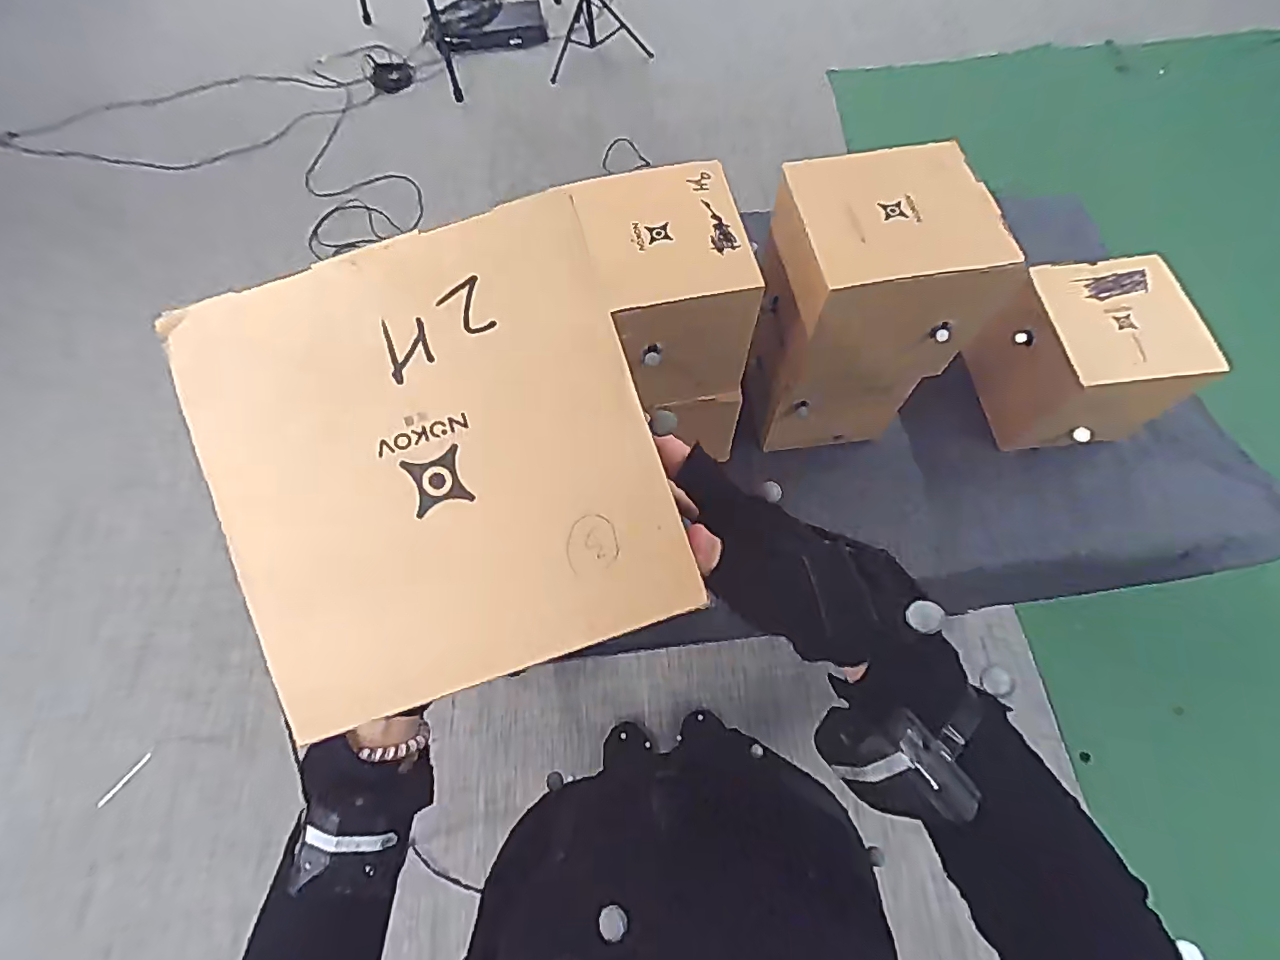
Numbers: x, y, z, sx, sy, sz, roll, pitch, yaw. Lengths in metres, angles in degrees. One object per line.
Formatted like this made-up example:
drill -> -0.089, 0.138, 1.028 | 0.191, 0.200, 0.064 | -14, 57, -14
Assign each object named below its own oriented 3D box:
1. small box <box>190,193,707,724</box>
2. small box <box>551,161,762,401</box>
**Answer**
small box -> -0.075, -0.008, 0.293 | 0.168, 0.176, 0.179 | -18, 88, -2
small box -> 0.015, -0.195, 0.576 | 0.179, 0.176, 0.168 | -11, 68, -1
